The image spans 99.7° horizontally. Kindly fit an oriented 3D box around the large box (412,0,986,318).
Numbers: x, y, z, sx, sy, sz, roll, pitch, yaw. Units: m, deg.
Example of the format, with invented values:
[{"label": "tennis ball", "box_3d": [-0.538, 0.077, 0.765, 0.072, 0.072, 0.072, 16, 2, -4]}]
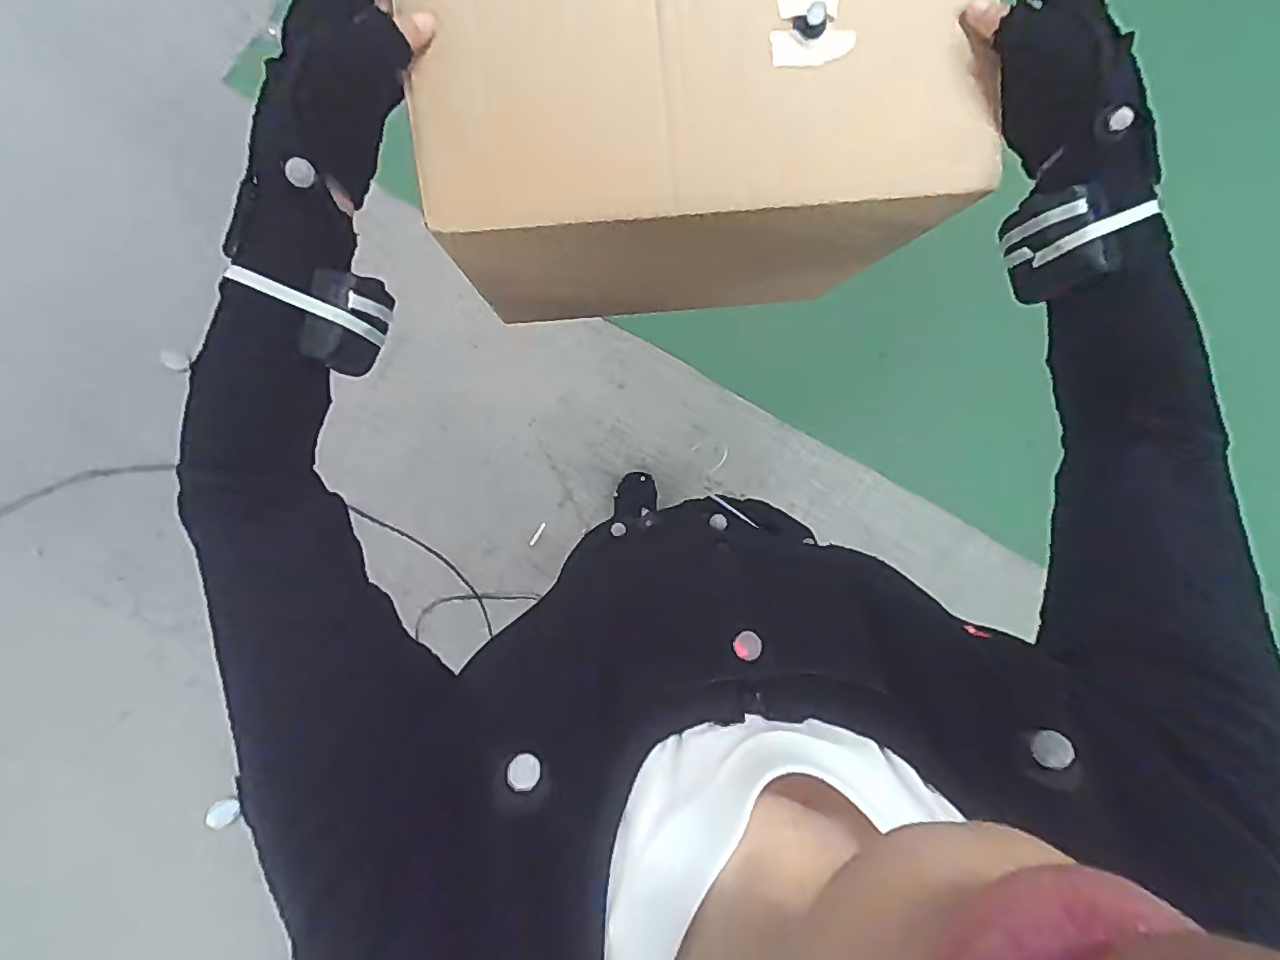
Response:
[{"label": "large box", "box_3d": [0.028, -0.359, 0.516, 0.408, 0.320, 0.320, -6, 95, -6]}]
